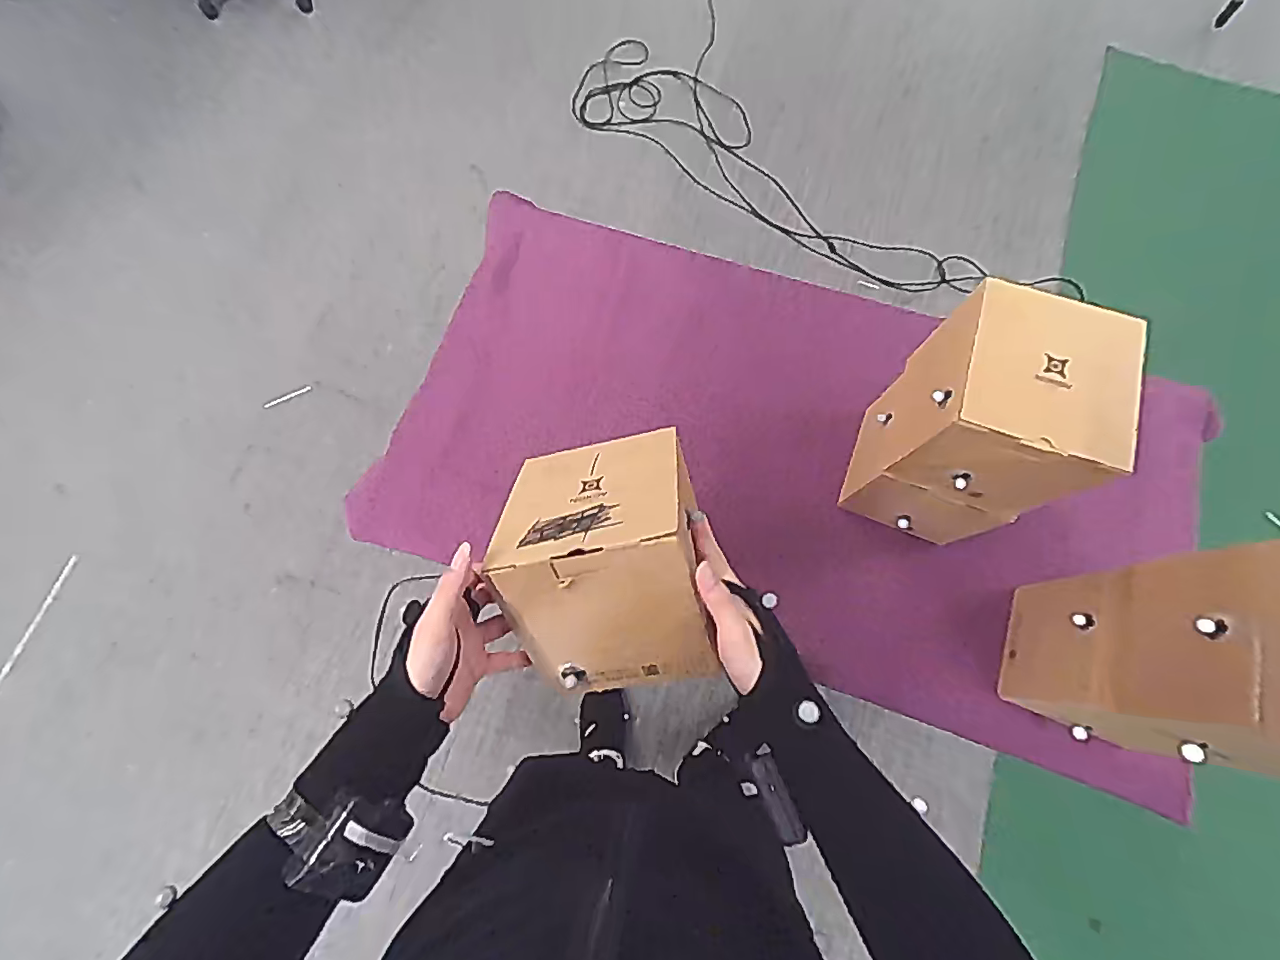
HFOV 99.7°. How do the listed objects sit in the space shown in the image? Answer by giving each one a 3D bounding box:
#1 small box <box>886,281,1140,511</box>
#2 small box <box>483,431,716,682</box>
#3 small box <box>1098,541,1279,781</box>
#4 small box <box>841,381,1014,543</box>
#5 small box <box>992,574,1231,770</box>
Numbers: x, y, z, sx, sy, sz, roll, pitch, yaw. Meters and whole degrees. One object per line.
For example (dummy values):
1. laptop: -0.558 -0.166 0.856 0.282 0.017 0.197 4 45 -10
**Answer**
1. small box: 0.405 -0.084 0.614 0.168 0.176 0.179 19 75 5
2. small box: -0.024 0.079 0.534 0.168 0.176 0.179 -12 31 11
3. small box: 0.604 0.184 0.534 0.168 0.176 0.179 21 74 8
4. small box: 0.408 -0.030 0.767 0.168 0.176 0.179 22 74 6
5. small box: 0.600 0.236 0.690 0.179 0.176 0.168 21 73 7
